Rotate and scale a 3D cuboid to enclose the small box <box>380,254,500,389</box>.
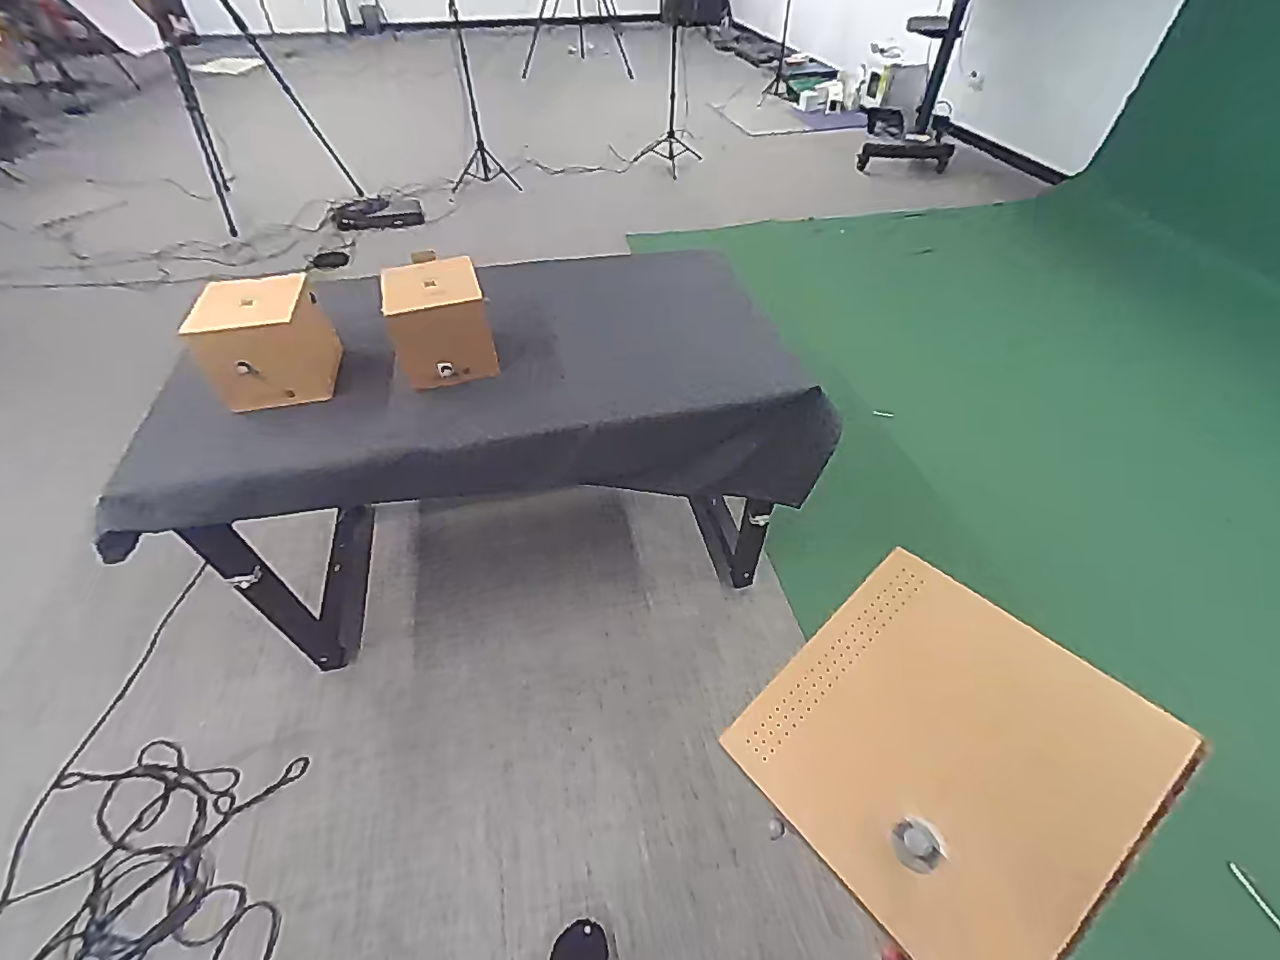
[{"bbox_3d":[-0.374,-0.298,1.020,0.168,0.176,0.179,-16,50,-13],"label":"small box"}]

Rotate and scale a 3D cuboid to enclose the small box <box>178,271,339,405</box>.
[{"bbox_3d":[-0.666,-0.250,0.972,0.168,0.176,0.179,-11,47,-10],"label":"small box"}]
